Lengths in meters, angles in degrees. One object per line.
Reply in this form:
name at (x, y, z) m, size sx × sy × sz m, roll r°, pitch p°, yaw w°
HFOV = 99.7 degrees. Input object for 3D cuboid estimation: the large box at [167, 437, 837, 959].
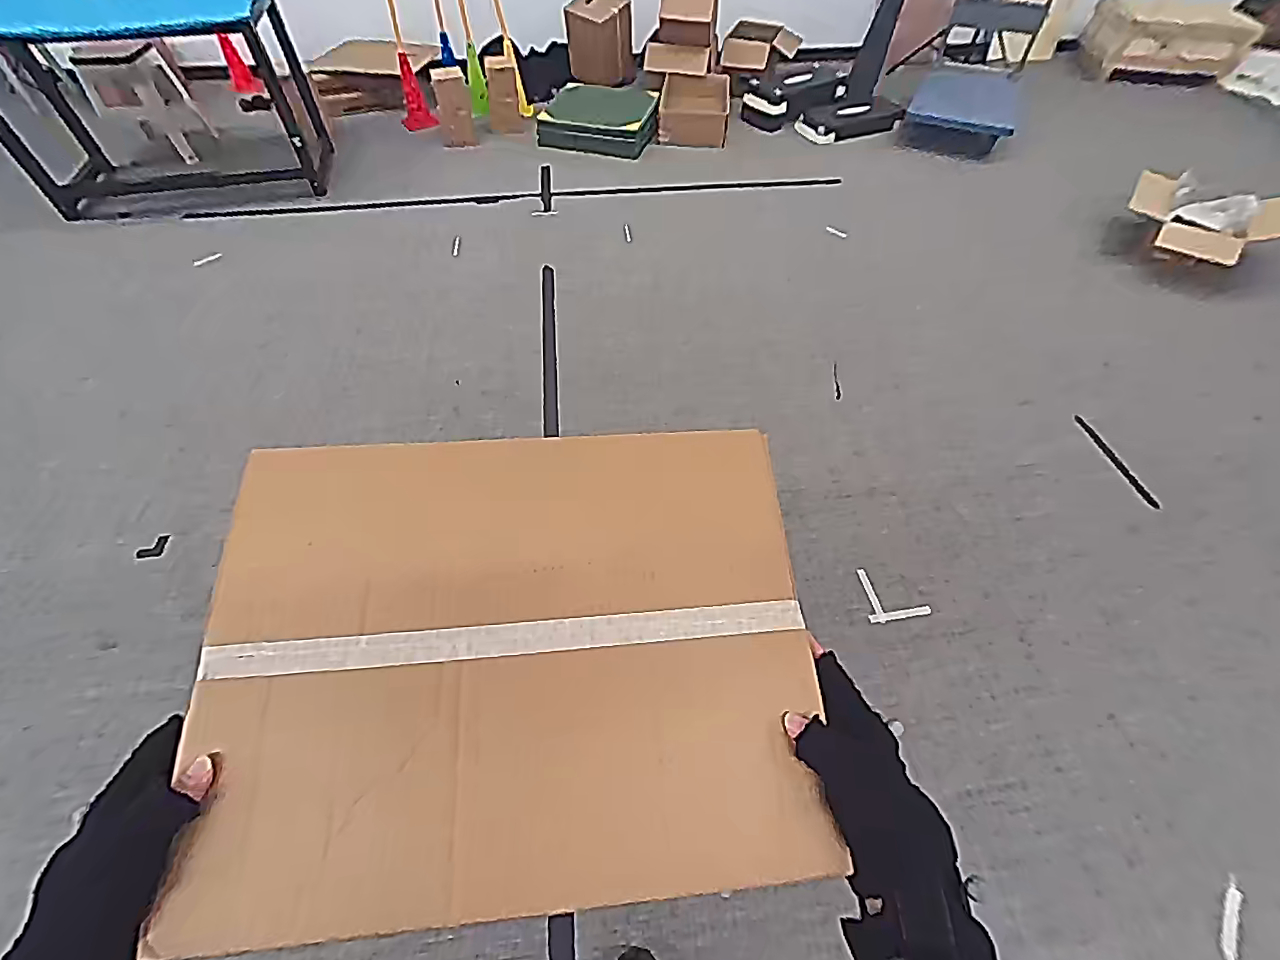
large box at (-0.093, 0.175, 0.515) m, size 0.408 × 0.320 × 0.320 m, roll -3°, pitch 66°, yaw -5°
